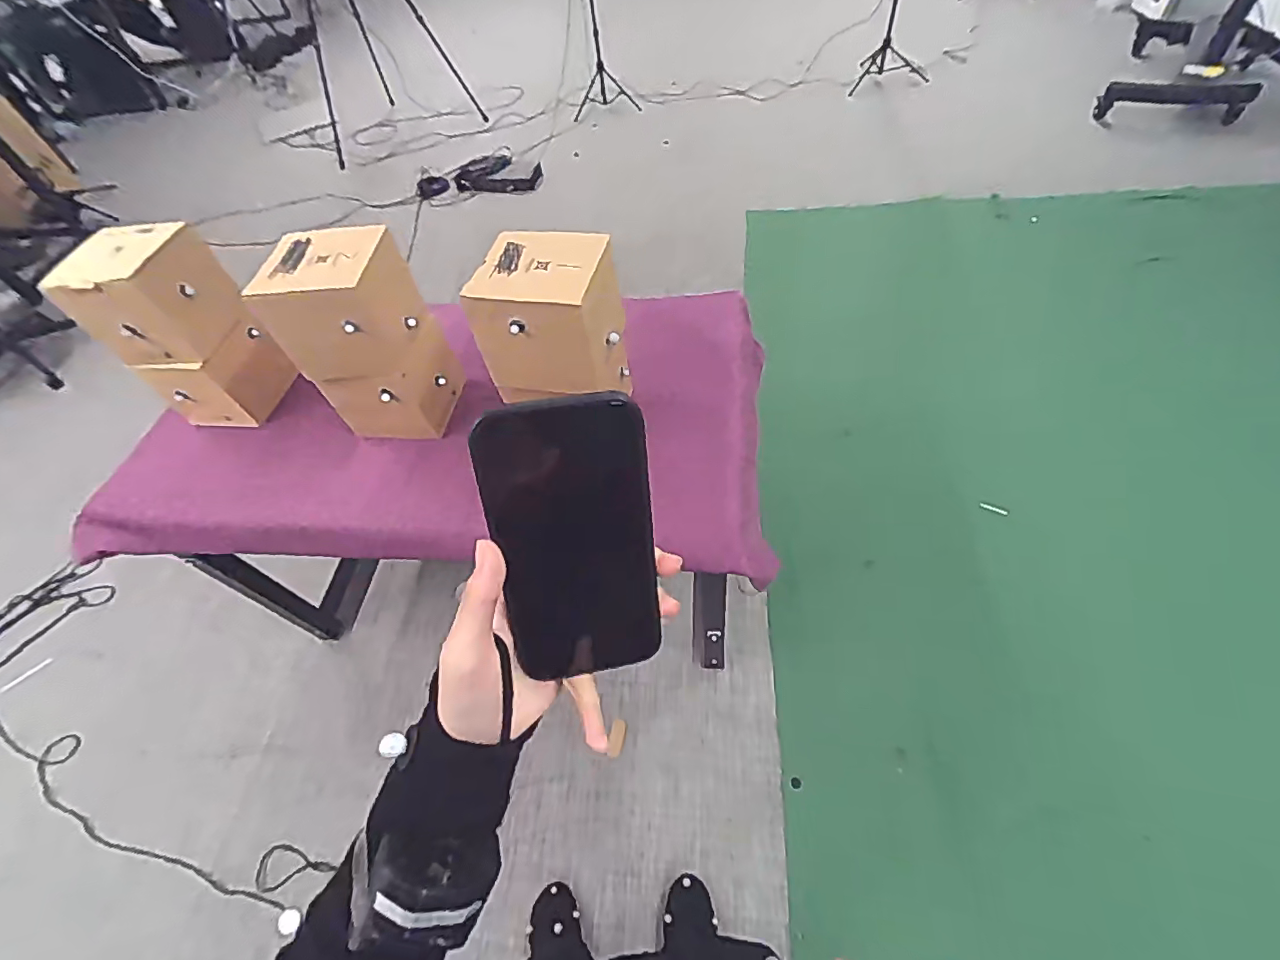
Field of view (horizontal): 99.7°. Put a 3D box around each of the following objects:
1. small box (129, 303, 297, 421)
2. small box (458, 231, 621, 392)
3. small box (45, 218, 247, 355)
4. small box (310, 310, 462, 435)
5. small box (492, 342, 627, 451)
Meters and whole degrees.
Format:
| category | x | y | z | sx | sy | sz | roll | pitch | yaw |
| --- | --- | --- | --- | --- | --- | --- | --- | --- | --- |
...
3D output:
| category | x | y | z | sx | sy | sz | roll | pitch | yaw |
| --- | --- | --- | --- | --- | --- | --- | --- | --- | --- |
| small box | -0.845 | -0.236 | 1.095 | 0.168 | 0.176 | 0.179 | 3 | 55 | 9 |
| small box | -0.138 | -0.252 | 0.819 | 0.179 | 0.176 | 0.168 | 8 | 56 | 12 |
| small box | -0.860 | -0.338 | 0.967 | 0.168 | 0.176 | 0.179 | 0 | 55 | 6 |
| small box | -0.463 | -0.200 | 1.021 | 0.179 | 0.176 | 0.168 | 3 | 55 | 9 |
| small box | -0.129 | -0.170 | 0.961 | 0.179 | 0.176 | 0.168 | 8 | 55 | 13 |
